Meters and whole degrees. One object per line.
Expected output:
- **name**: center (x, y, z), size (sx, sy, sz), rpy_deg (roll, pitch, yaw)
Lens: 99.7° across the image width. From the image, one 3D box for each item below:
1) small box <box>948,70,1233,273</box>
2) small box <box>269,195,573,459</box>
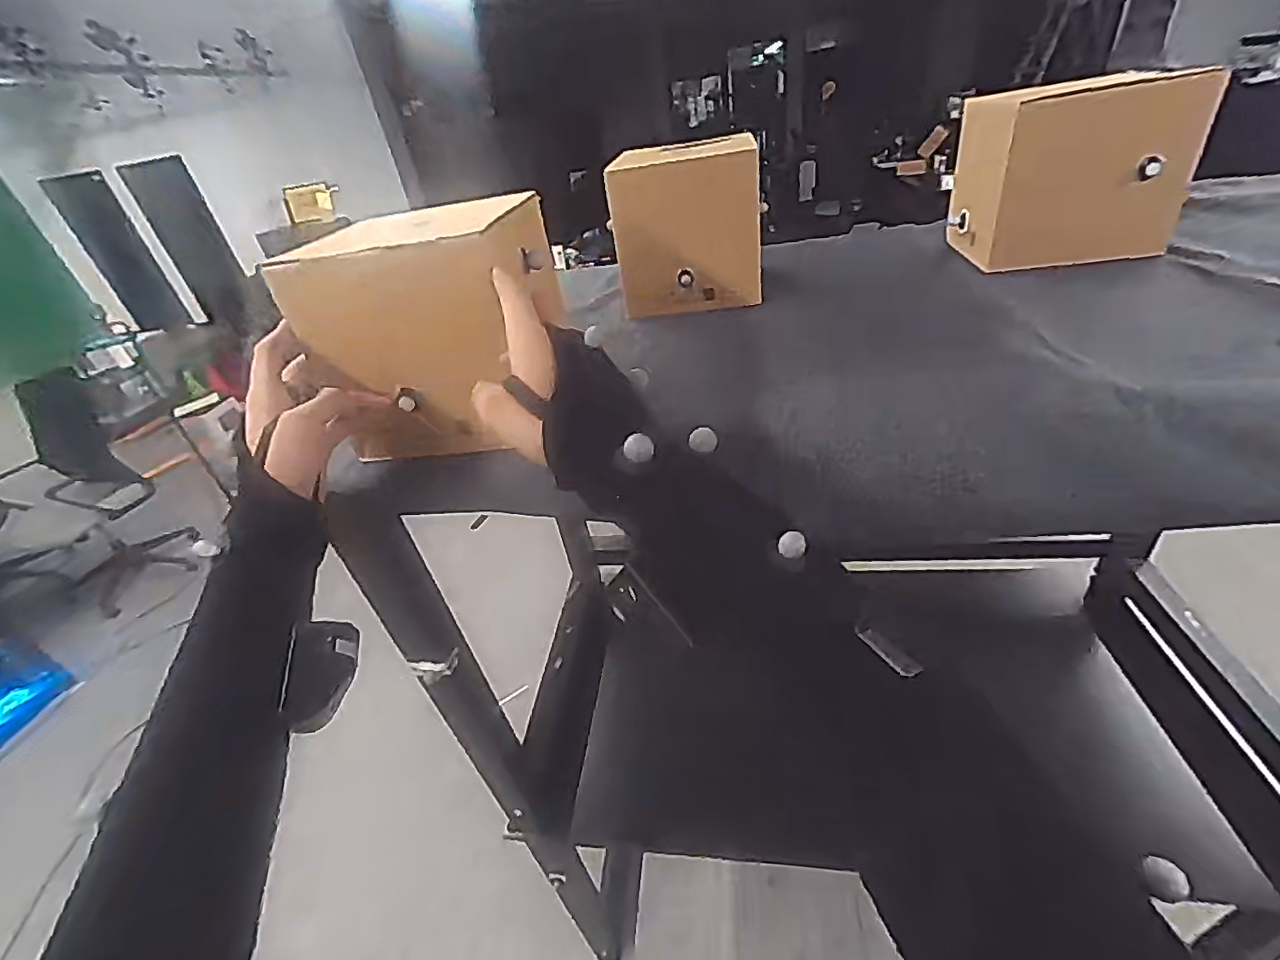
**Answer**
- **small box**: center (0.480, -0.348, 0.616), size (0.179, 0.176, 0.168), rpy_deg (-1, 34, 12)
- **small box**: center (-0.162, -0.136, 0.476), size (0.168, 0.176, 0.179), rpy_deg (-5, 35, 8)
